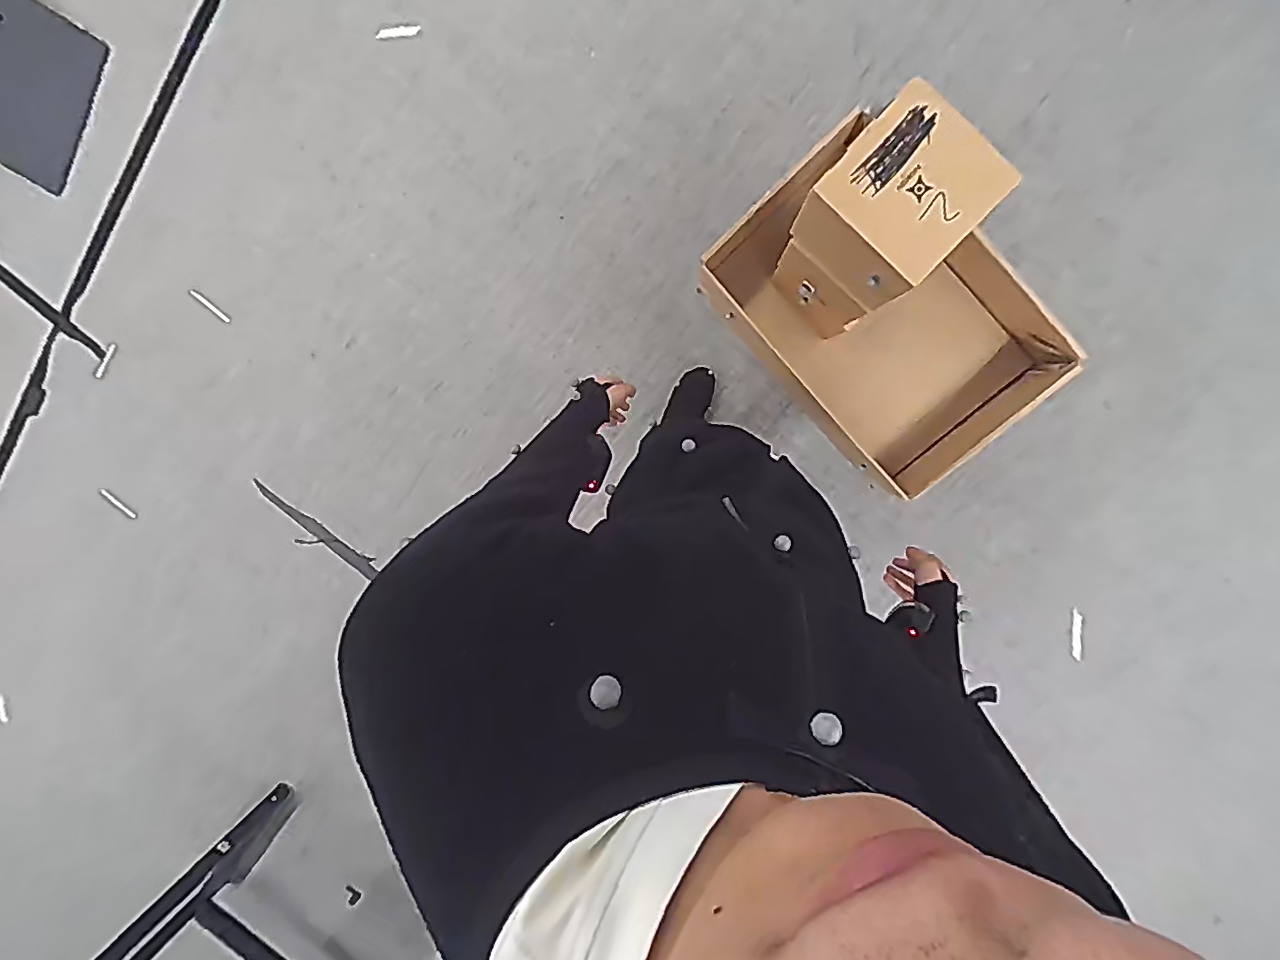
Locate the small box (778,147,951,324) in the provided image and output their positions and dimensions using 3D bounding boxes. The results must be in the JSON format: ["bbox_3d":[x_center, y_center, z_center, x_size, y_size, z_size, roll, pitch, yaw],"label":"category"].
[{"bbox_3d":[0.346,-0.380,0.876,0.168,0.176,0.179,42,101,-1],"label":"small box"}]

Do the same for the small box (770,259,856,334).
[{"bbox_3d":[0.371,-0.399,1.037,0.179,0.176,0.168,44,102,-3],"label":"small box"}]
